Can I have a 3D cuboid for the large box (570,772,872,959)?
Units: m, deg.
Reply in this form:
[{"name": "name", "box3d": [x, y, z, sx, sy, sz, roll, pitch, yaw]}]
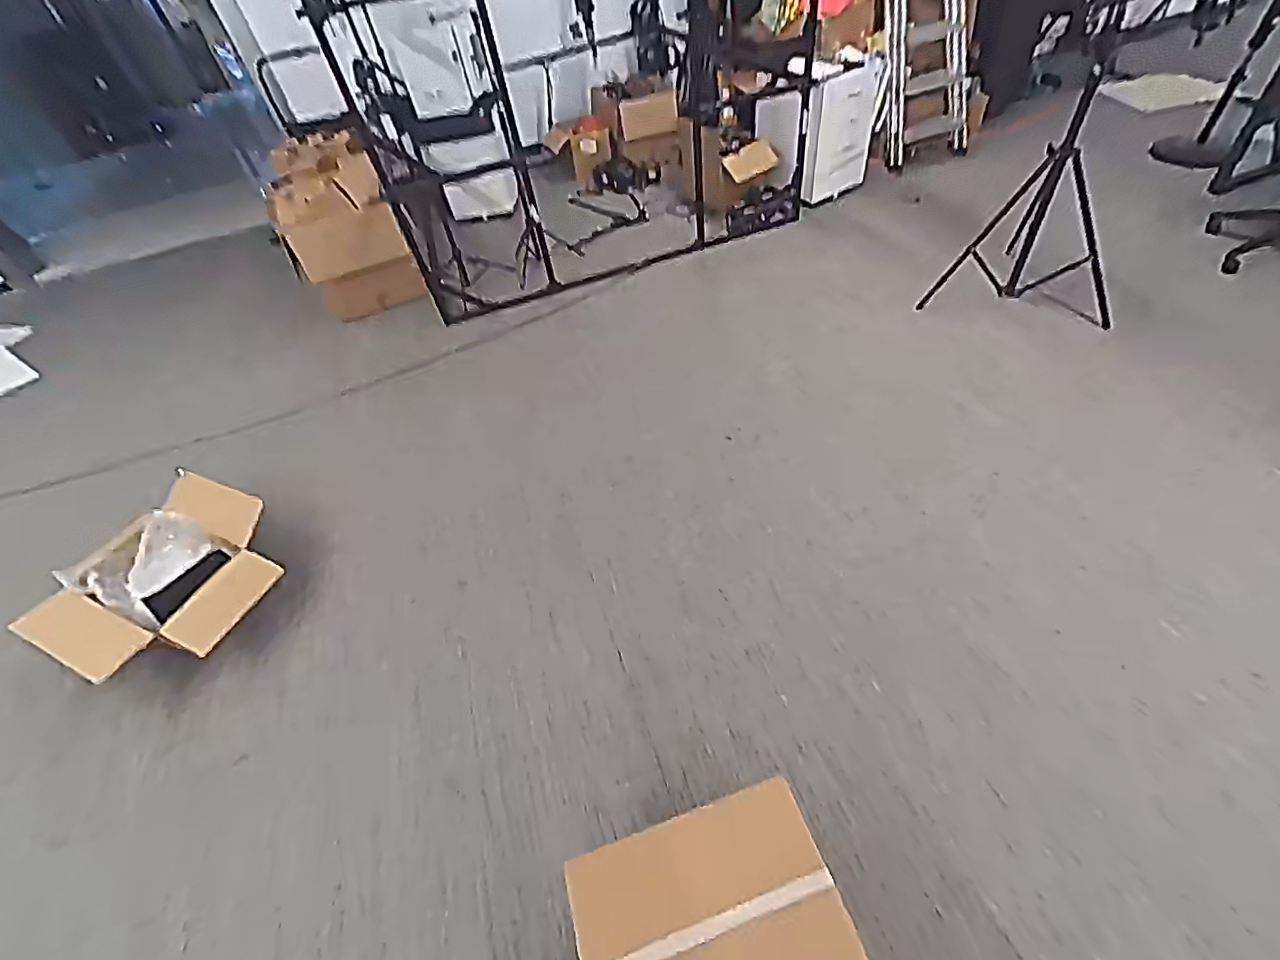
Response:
[{"name": "large box", "box3d": [0.132, 0.779, 0.935, 0.408, 0.320, 0.320, -18, 48, -7]}]
